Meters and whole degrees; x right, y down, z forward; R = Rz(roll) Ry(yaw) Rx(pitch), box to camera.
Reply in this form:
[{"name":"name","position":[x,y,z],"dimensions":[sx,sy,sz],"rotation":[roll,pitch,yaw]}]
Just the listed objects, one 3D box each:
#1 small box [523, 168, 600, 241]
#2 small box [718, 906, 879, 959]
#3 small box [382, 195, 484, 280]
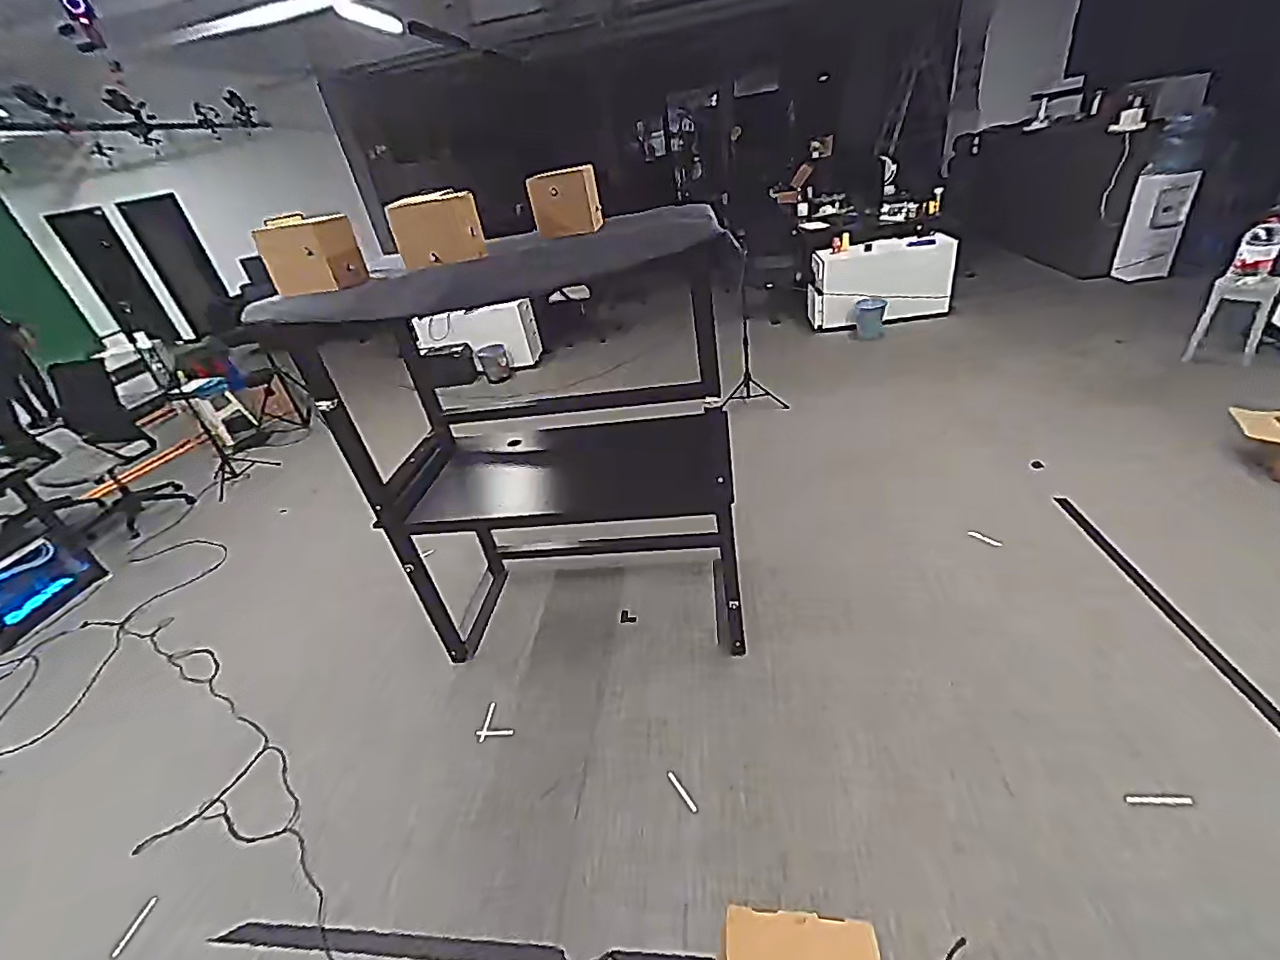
[{"name":"small box","position":[-0.232,-0.837,1.645],"dimensions":[0.179,0.176,0.168],"rotation":[-5,33,9]},{"name":"small box","position":[0.168,0.599,0.576],"dimensions":[0.168,0.176,0.179],"rotation":[2,33,6]},{"name":"small box","position":[-0.532,-0.638,1.423],"dimensions":[0.179,0.176,0.168],"rotation":[-5,31,8]}]
